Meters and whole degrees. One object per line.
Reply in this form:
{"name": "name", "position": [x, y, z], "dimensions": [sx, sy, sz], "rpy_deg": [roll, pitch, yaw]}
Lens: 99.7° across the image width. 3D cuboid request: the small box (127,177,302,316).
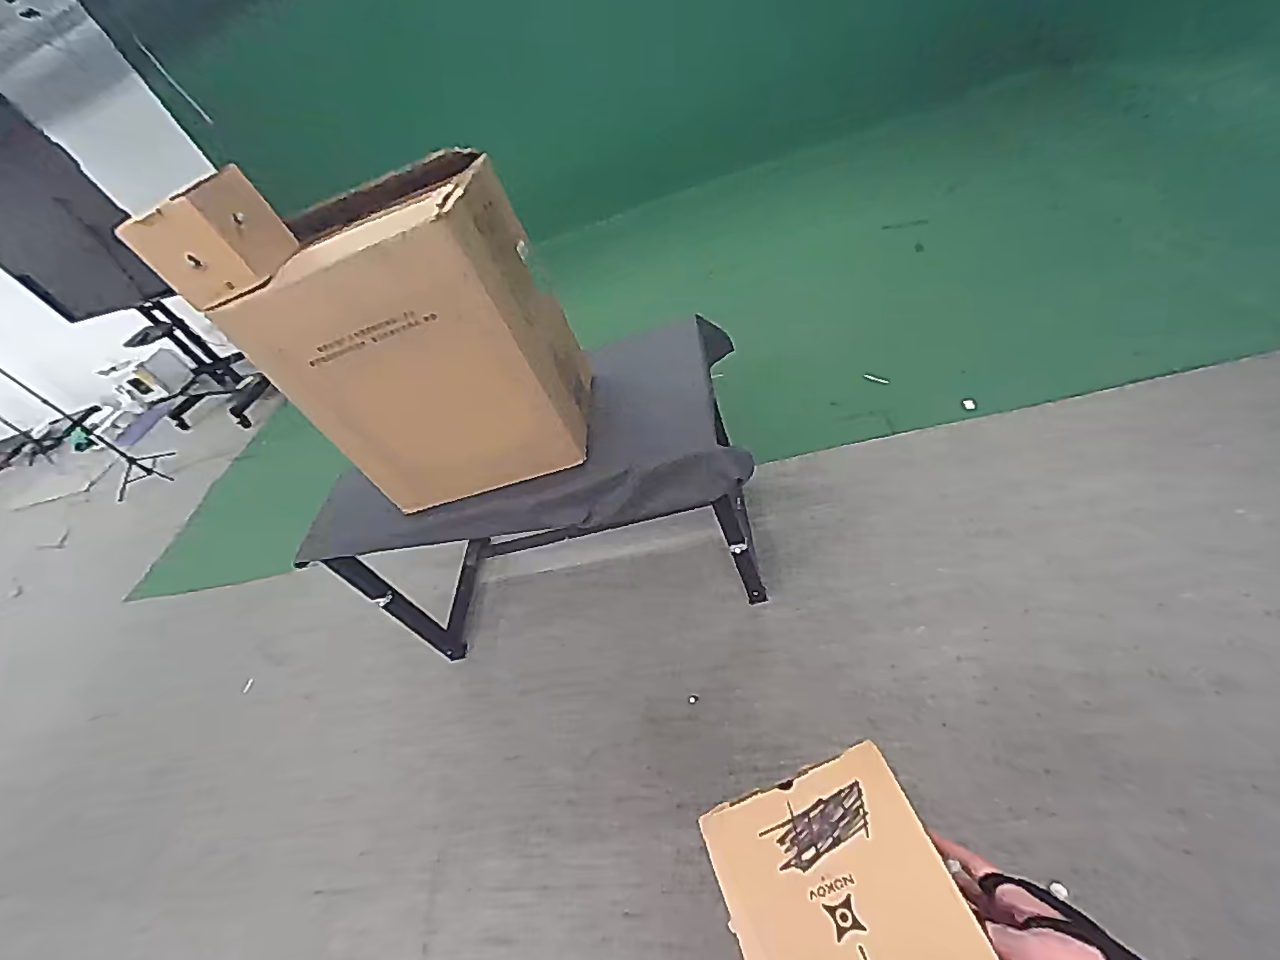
{"name": "small box", "position": [-0.798, -0.438, 1.037], "dimensions": [0.168, 0.176, 0.179], "rpy_deg": [-16, 44, 14]}
